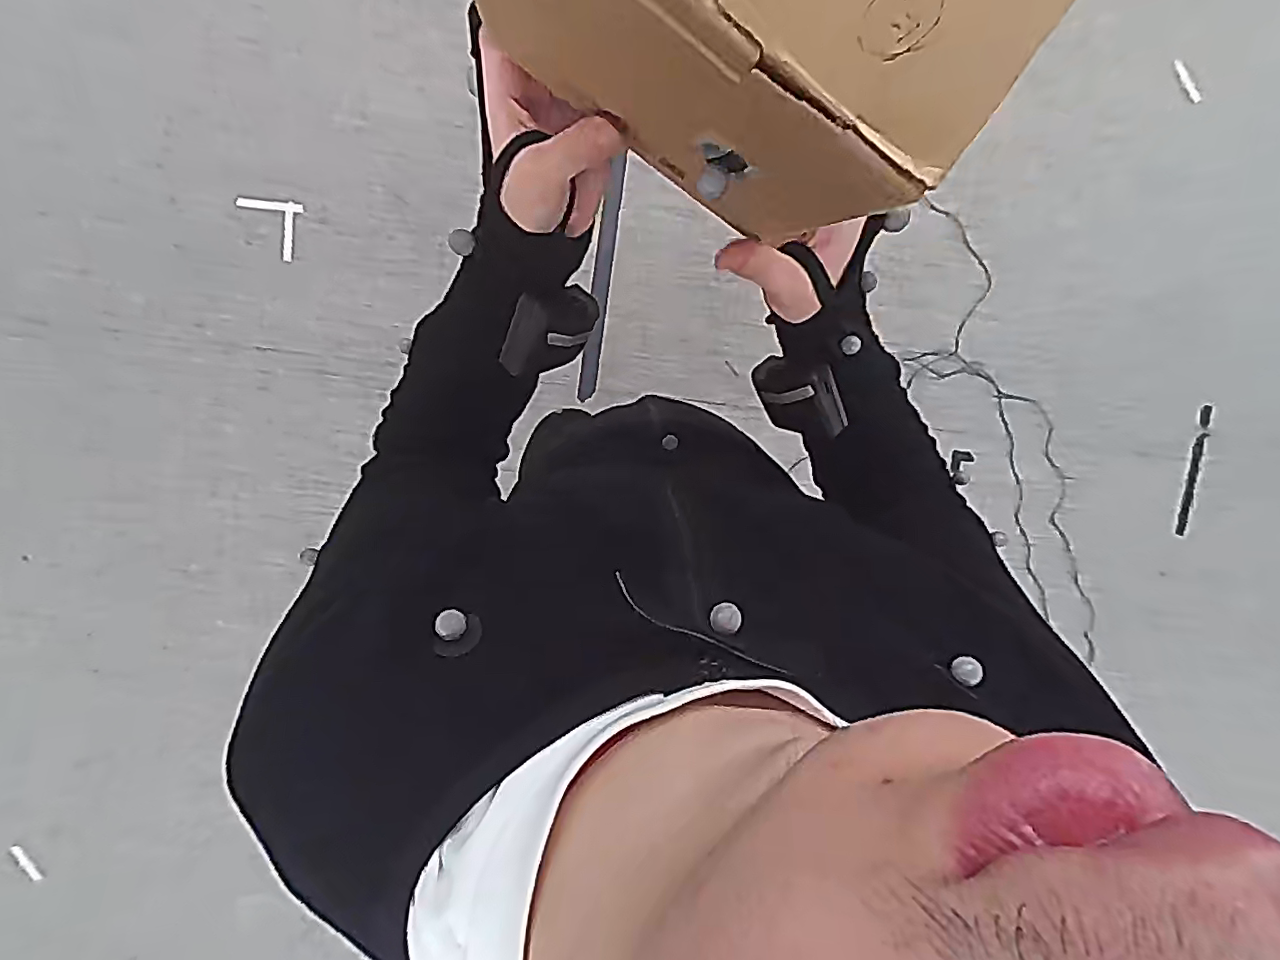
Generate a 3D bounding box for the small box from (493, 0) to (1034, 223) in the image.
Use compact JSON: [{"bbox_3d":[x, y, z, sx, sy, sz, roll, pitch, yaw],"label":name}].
[{"bbox_3d":[0.048,-0.220,0.195,0.168,0.176,0.179,29,104,-16],"label":"small box"}]
